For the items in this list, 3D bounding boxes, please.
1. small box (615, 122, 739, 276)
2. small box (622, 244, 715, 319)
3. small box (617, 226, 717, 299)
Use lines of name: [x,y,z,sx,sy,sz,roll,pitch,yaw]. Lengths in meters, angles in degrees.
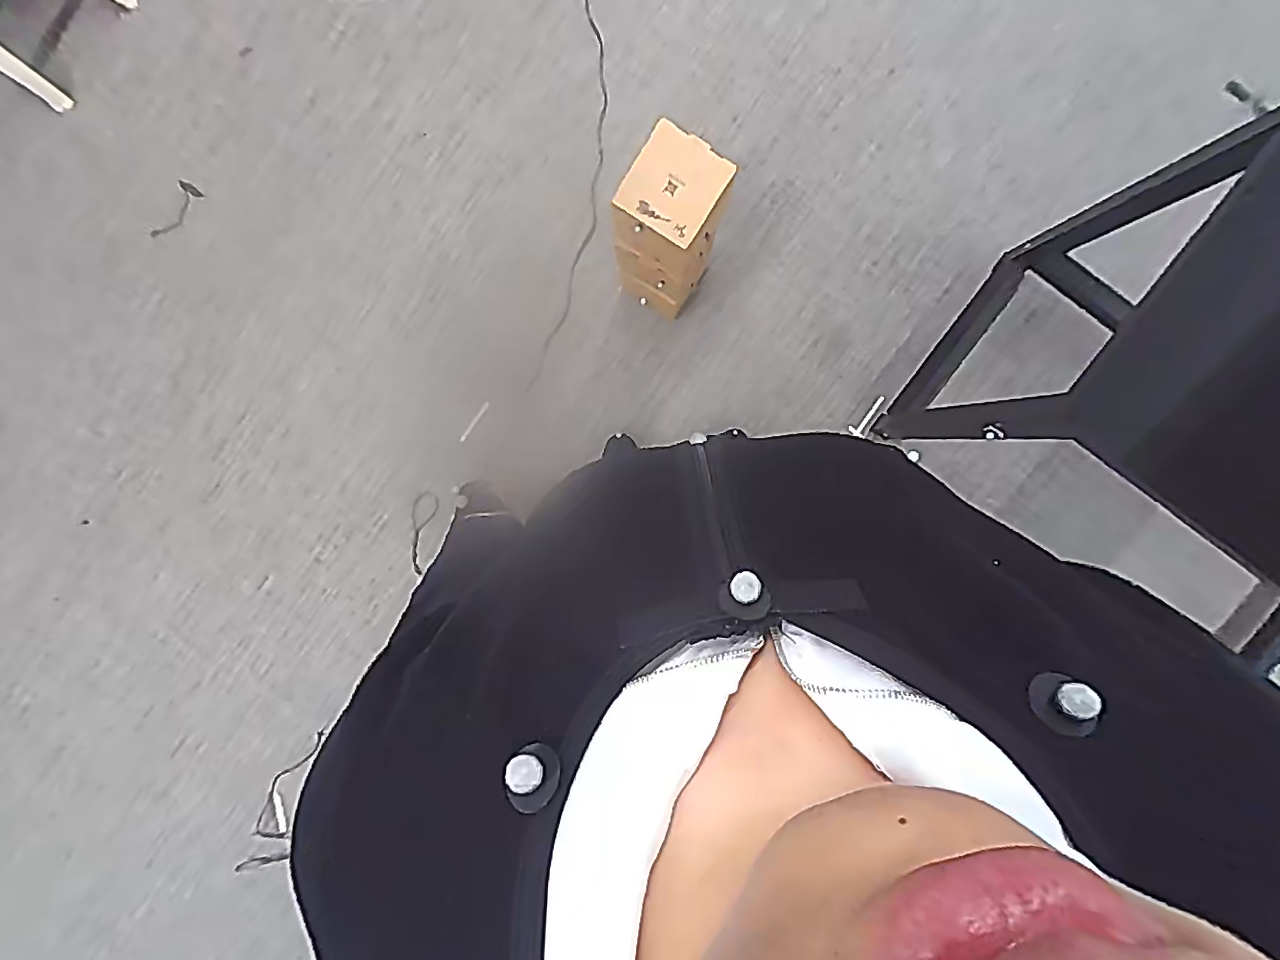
small box: [0.067,-0.536,1.058,0.168,0.176,0.179,33,93,0]
small box: [0.069,-0.542,1.385,0.168,0.176,0.179,33,95,0]
small box: [0.065,-0.538,1.222,0.168,0.176,0.179,30,93,-1]
